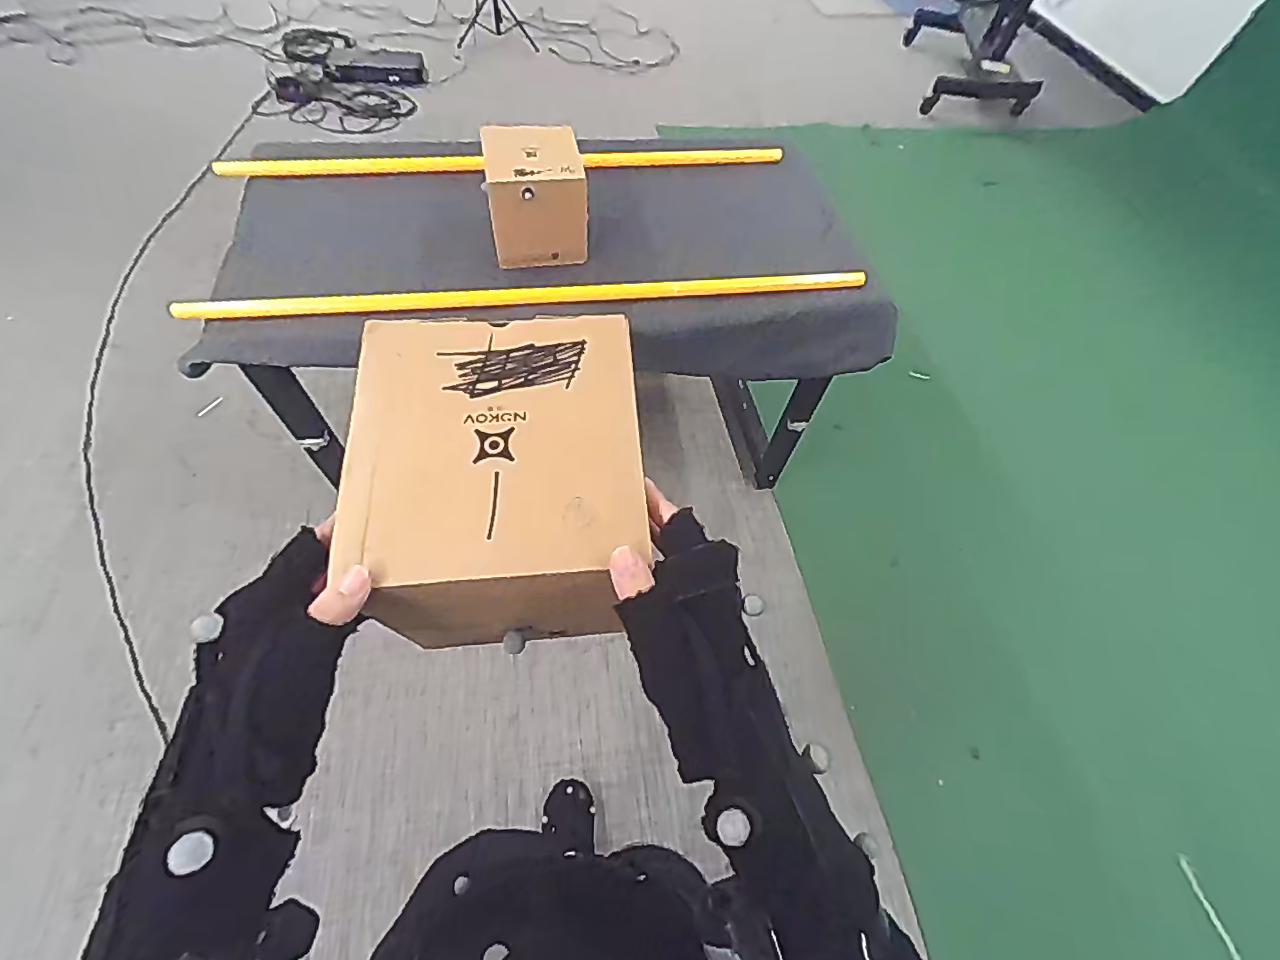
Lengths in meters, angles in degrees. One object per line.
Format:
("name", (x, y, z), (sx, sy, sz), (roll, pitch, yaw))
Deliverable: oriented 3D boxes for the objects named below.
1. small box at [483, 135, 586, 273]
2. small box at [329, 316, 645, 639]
("small box", (-0.194, -0.513, 1.008), (0.168, 0.176, 0.179), (-8, 58, -10))
("small box", (-0.089, 0.006, 0.390), (0.168, 0.176, 0.179), (-3, 64, -5))
